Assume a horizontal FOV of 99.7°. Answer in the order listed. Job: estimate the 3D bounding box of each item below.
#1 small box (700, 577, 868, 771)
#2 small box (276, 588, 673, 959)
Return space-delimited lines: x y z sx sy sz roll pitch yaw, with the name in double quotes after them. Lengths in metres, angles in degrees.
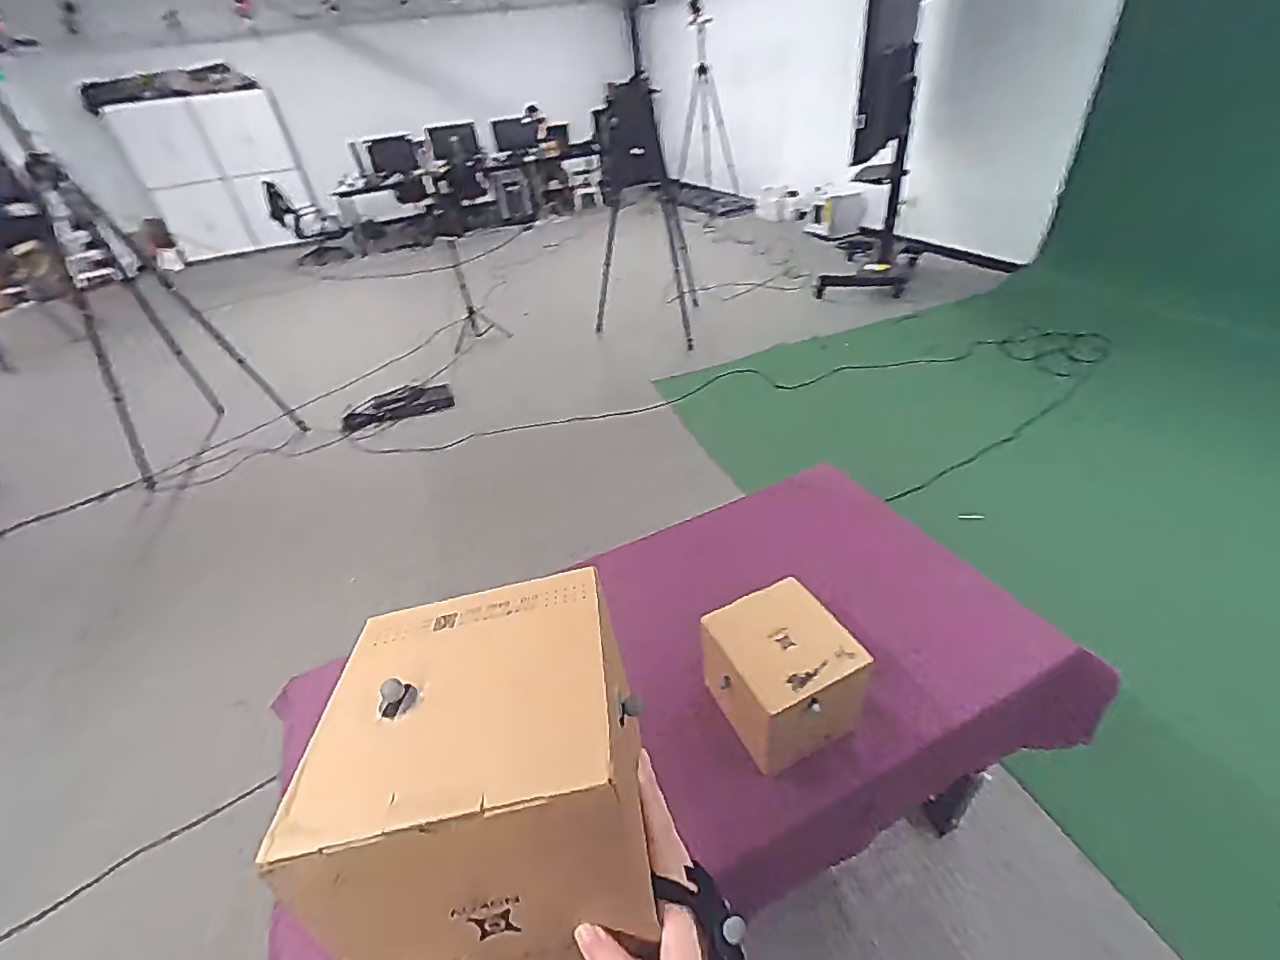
0.204 0.284 0.801 0.168 0.176 0.179 -21 38 -15 "small box"
-0.082 0.190 0.355 0.168 0.179 0.176 -12 28 -1 "small box"
